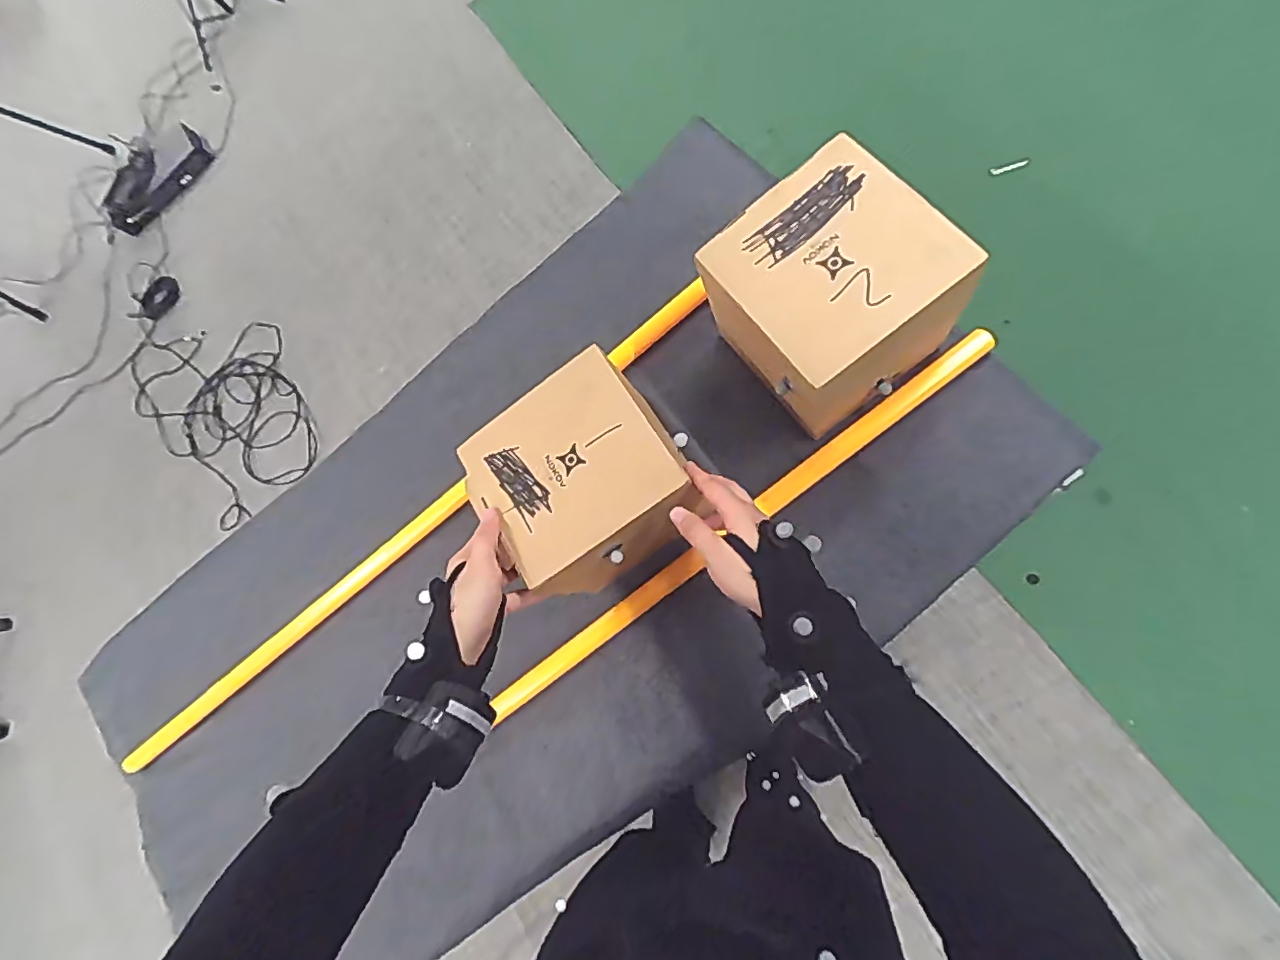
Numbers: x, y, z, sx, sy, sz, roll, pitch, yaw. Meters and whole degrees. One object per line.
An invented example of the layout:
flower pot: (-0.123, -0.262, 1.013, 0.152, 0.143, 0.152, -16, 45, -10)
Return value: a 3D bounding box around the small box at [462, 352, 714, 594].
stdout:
small box: (-0.043, 0.007, 0.568, 0.179, 0.176, 0.168, -35, 72, 7)
